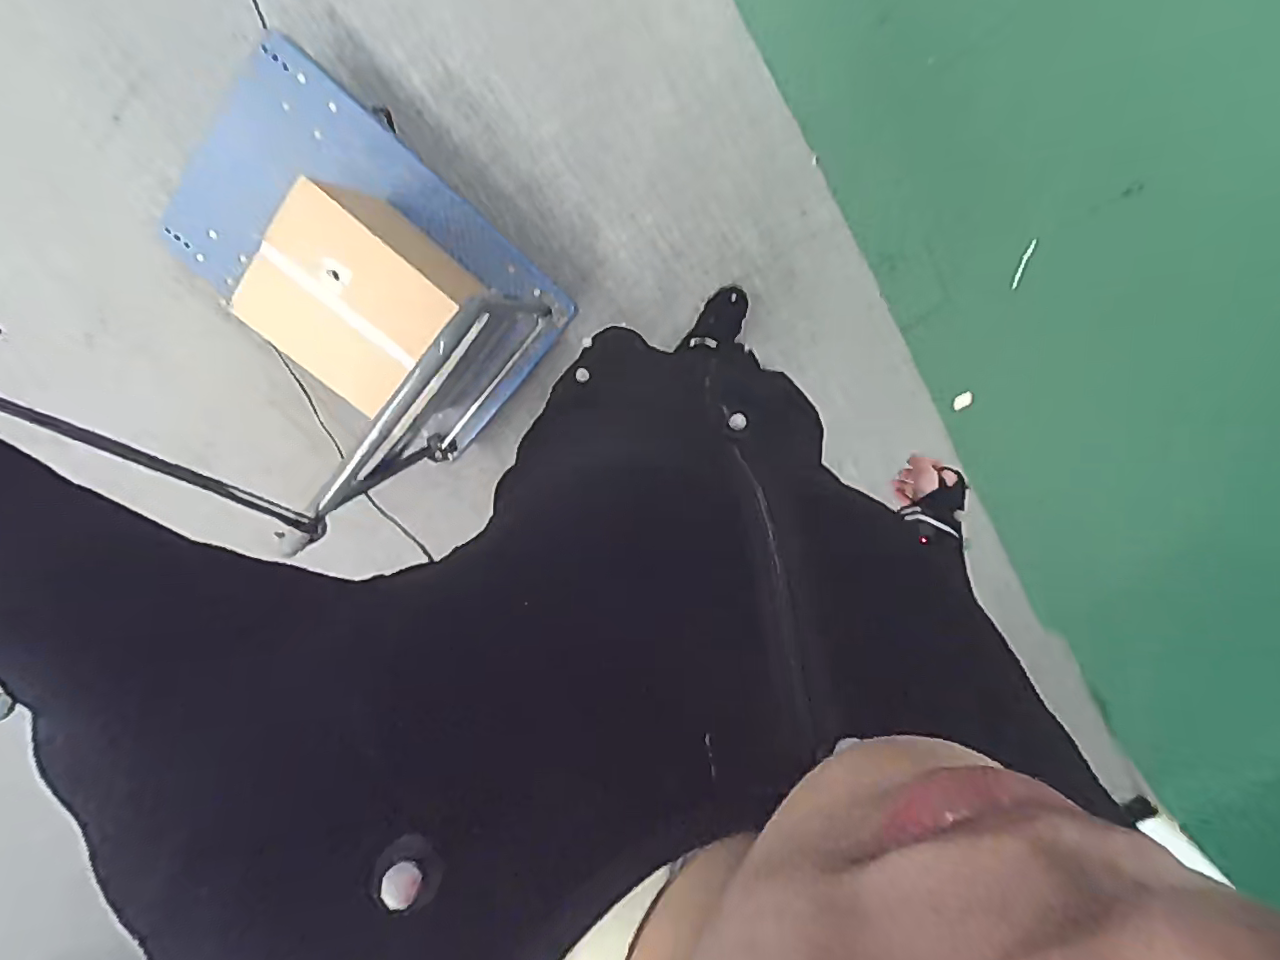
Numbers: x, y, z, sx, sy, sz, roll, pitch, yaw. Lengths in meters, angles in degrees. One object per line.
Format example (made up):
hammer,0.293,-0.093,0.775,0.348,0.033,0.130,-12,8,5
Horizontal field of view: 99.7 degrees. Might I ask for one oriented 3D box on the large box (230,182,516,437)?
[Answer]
large box,-0.554,-0.364,1.198,0.408,0.320,0.320,40,106,-11
